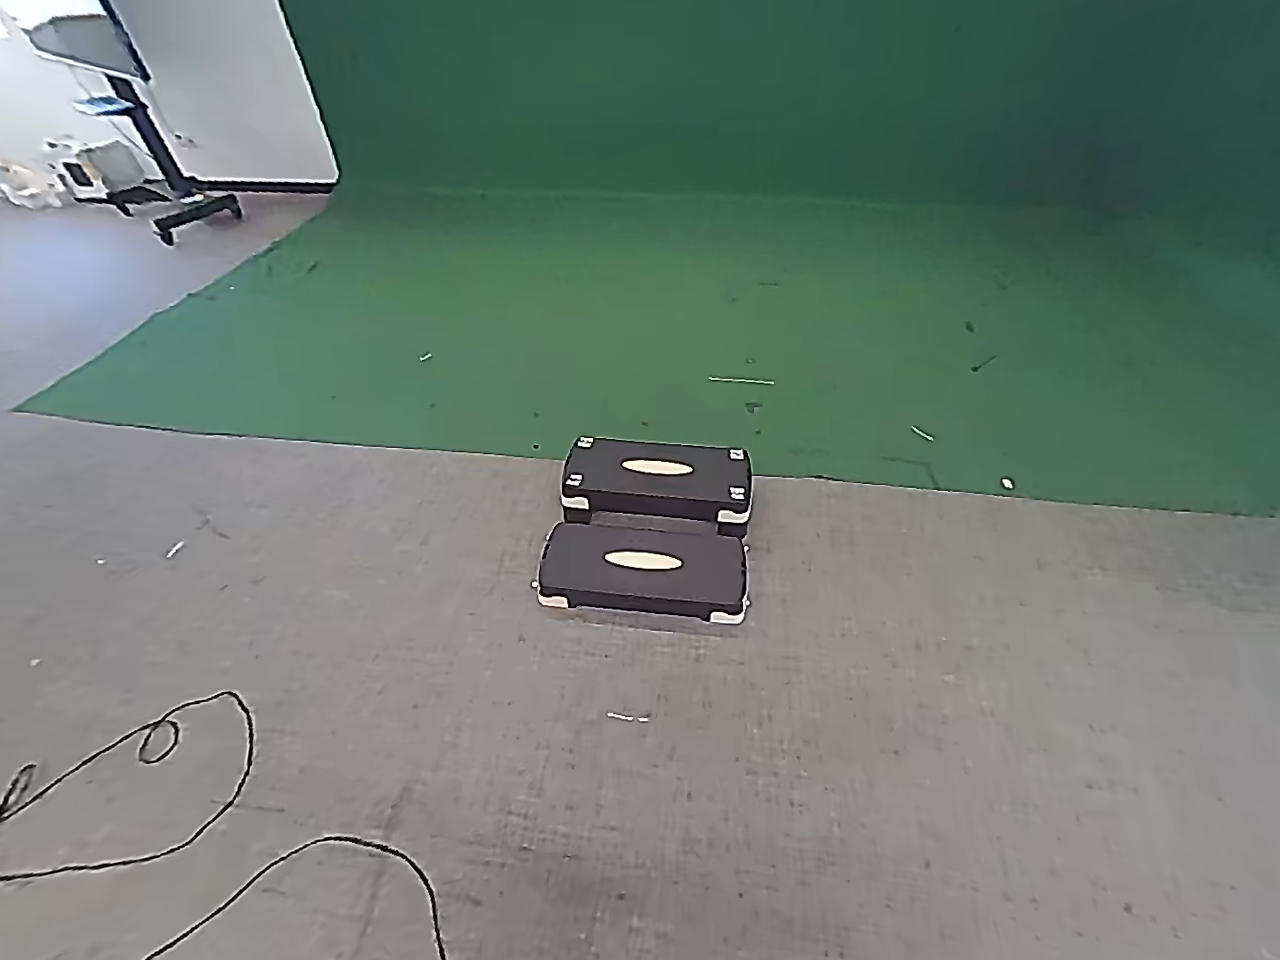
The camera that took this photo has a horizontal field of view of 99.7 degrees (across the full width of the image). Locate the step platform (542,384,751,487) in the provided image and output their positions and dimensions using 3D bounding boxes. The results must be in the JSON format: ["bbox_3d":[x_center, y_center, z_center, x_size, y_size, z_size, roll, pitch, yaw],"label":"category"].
[{"bbox_3d":[0.026,-0.153,1.848,0.684,0.204,0.286,4,46,6],"label":"step platform"}]
